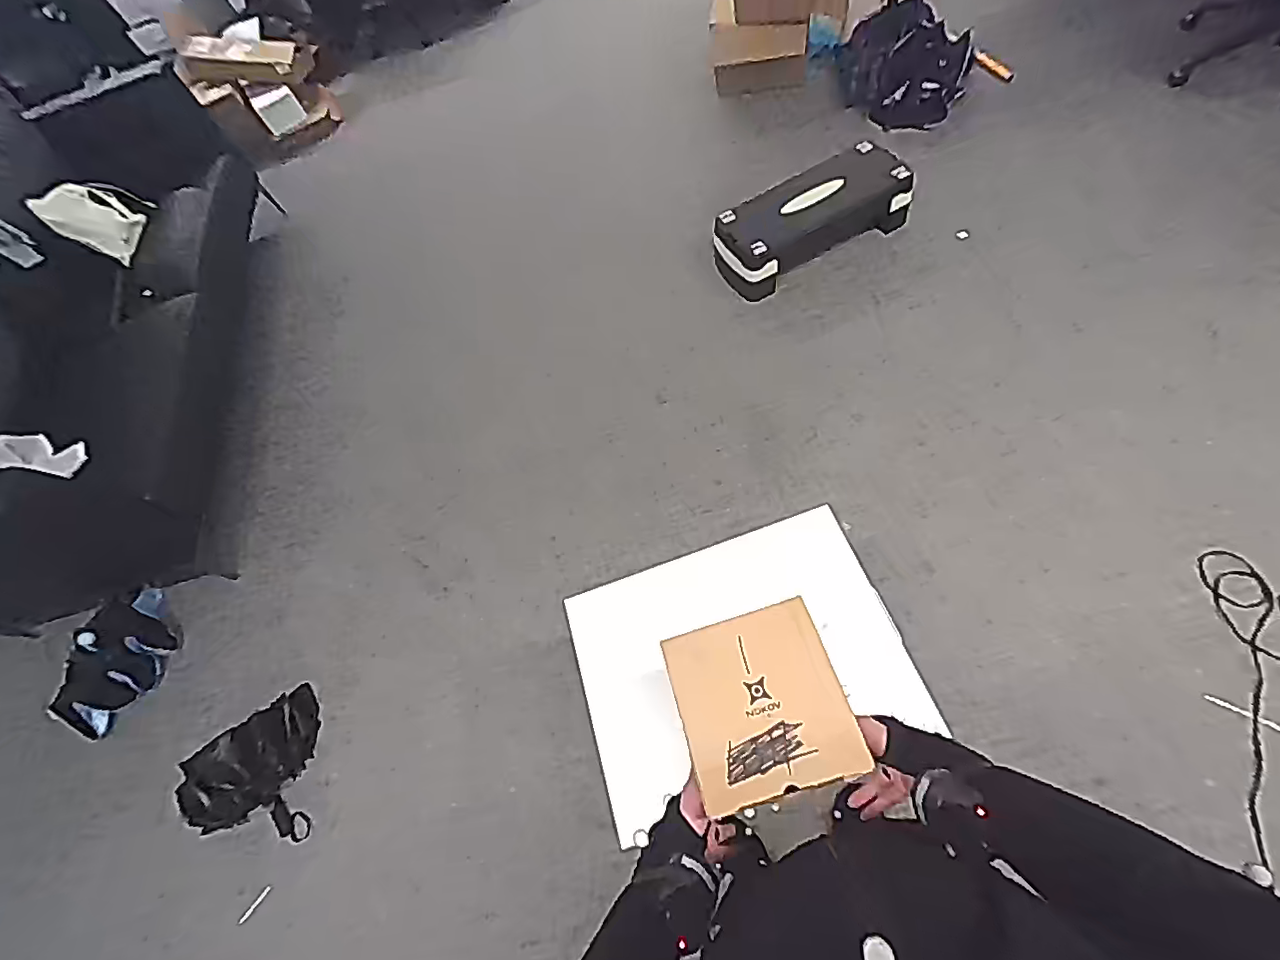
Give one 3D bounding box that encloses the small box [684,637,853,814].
[{"bbox_3d":[0.171,0.345,0.756,0.168,0.176,0.179,-20,59,3],"label":"small box"}]
